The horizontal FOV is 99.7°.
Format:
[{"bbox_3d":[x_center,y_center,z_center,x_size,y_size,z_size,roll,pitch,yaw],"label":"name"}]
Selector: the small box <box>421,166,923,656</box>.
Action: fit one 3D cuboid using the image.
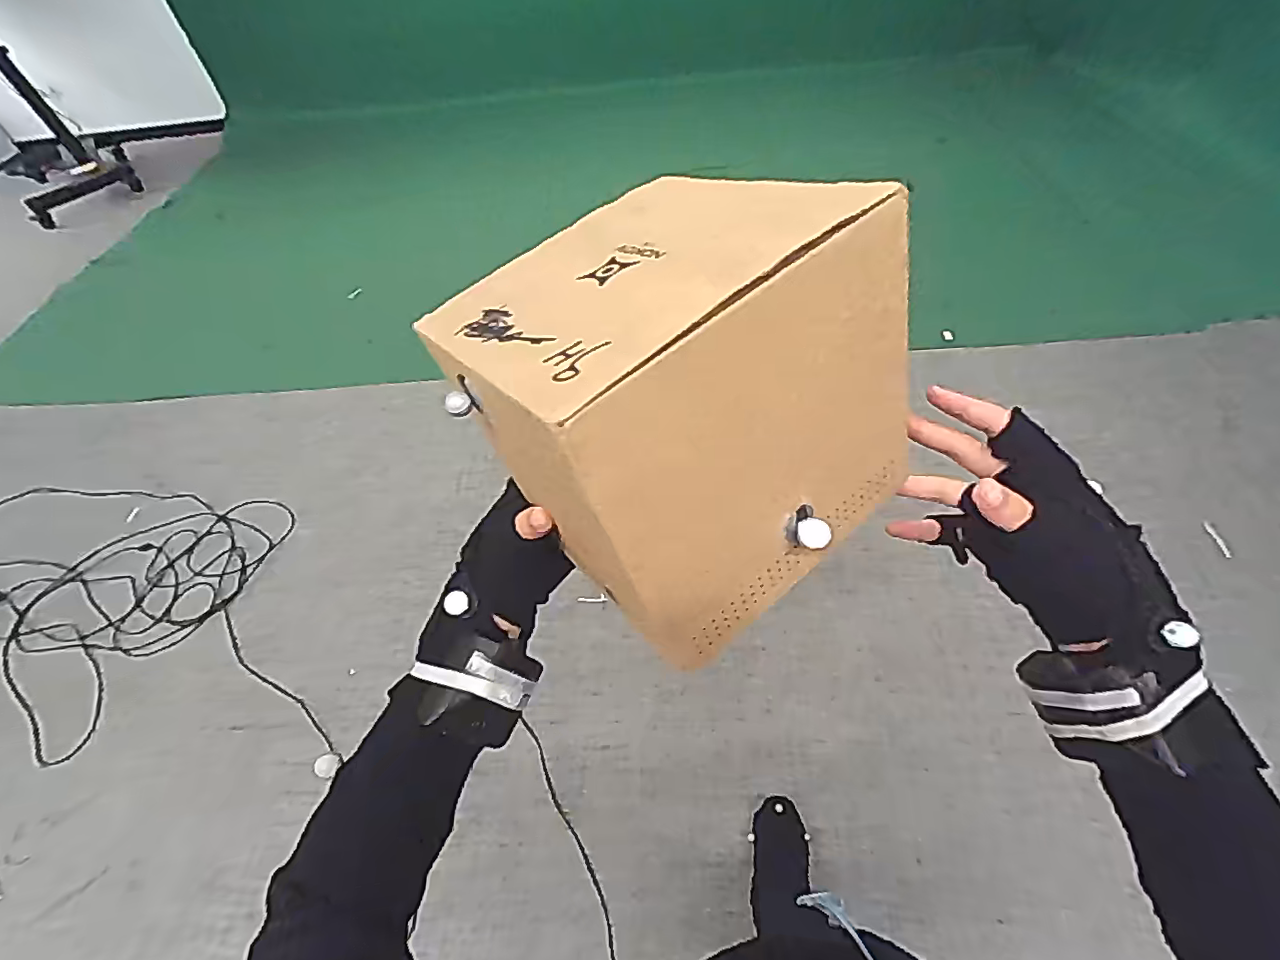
[{"bbox_3d":[0.022,-0.046,0.294,0.179,0.176,0.168,-37,41,-16],"label":"small box"}]
